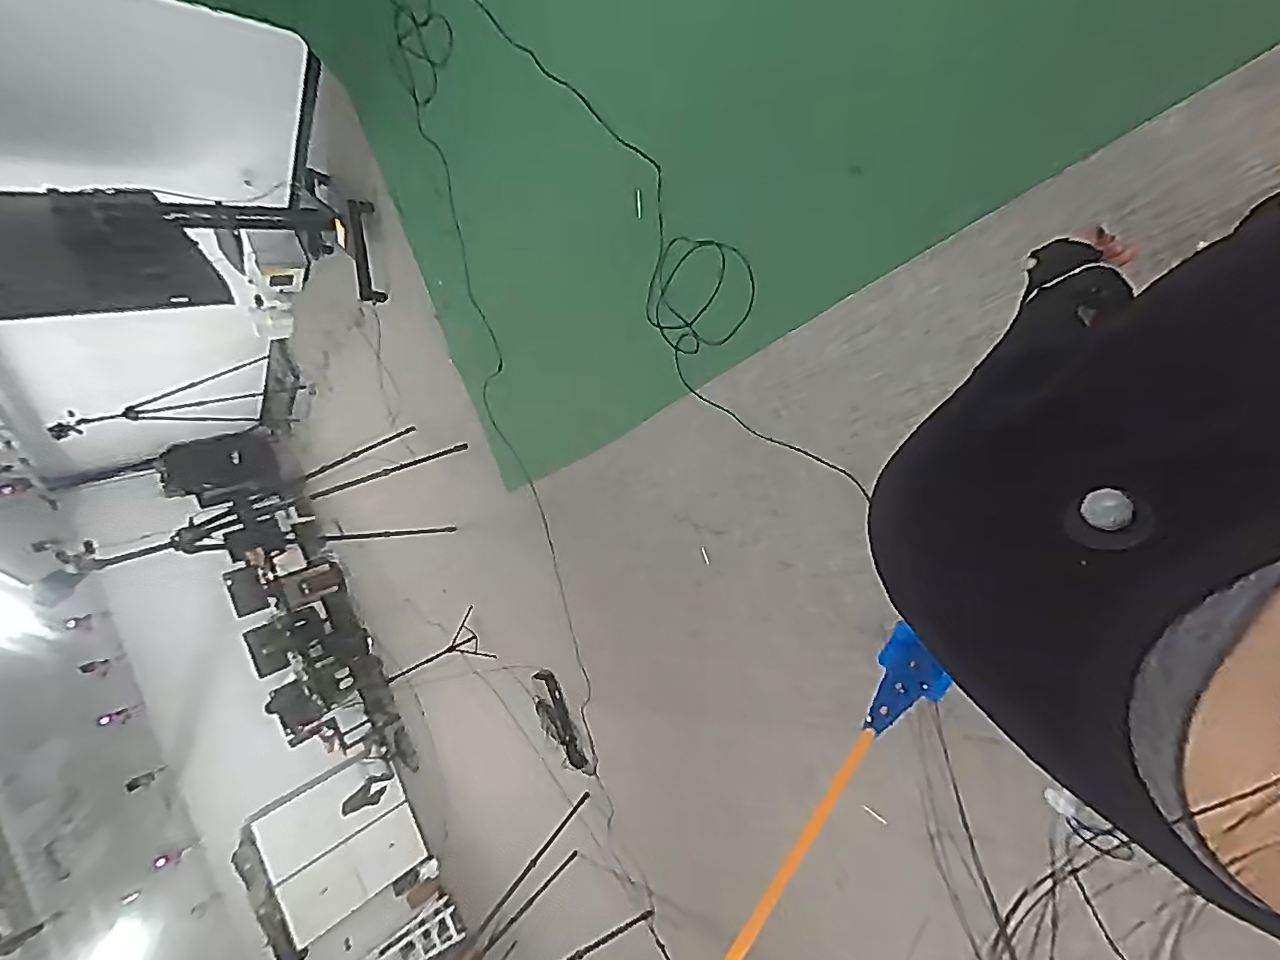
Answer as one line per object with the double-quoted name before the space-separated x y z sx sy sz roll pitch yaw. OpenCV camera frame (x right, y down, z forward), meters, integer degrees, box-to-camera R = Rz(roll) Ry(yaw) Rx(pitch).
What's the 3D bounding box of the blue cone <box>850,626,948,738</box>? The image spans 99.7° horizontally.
"blue cone" 0.707 0.609 1.541 0.192 0.380 0.193 32 130 32
